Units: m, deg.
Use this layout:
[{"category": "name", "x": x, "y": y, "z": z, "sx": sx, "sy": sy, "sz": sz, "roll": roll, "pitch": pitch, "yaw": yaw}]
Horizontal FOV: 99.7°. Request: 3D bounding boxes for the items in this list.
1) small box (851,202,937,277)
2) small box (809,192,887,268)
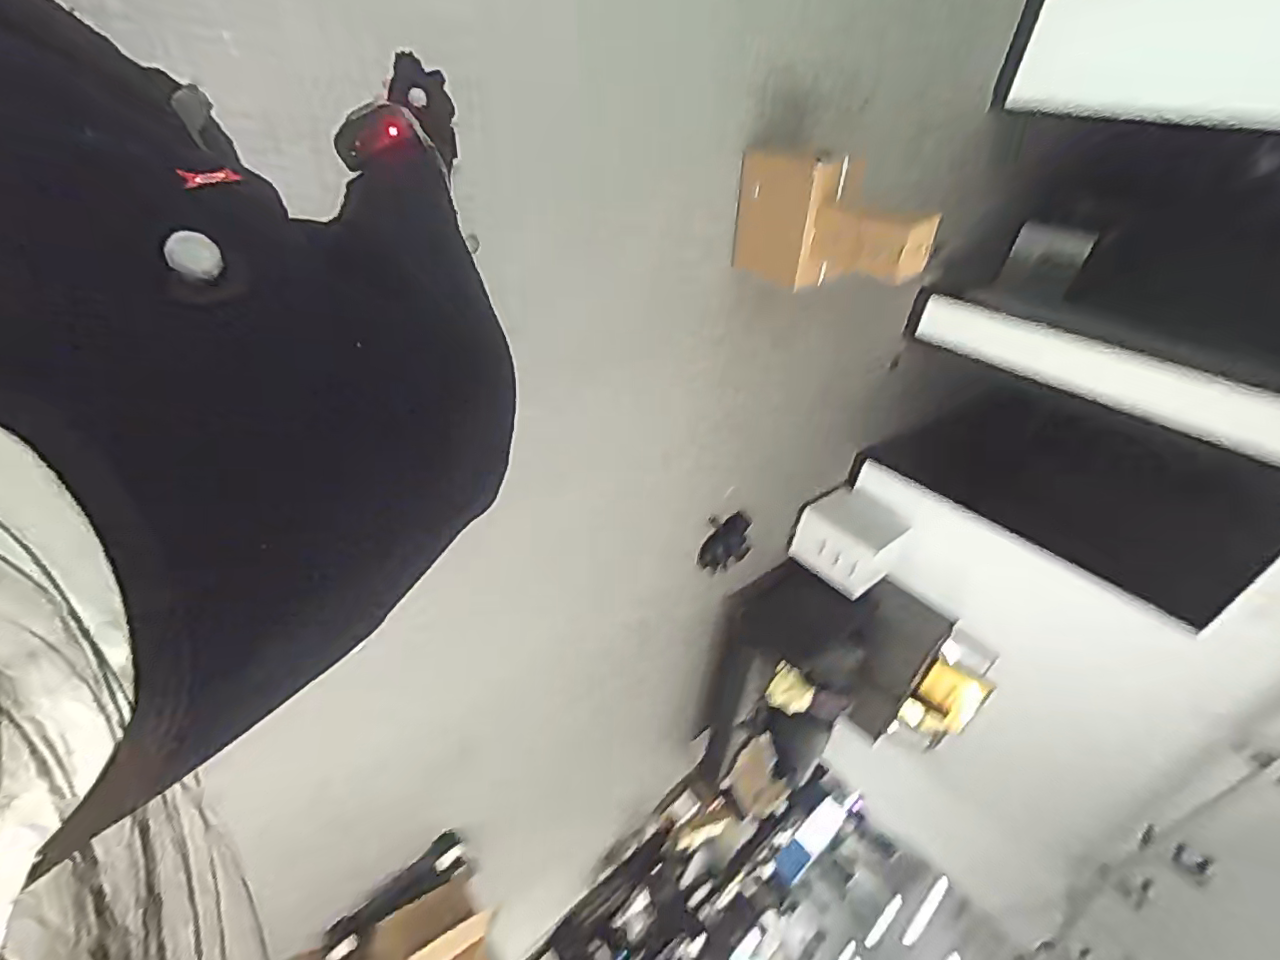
[{"category": "small box", "x": 0.804, "y": -0.773, "z": 1.730, "sx": 0.179, "sy": 0.176, "sz": 0.168, "roll": -31, "pitch": 138, "yaw": -27}, {"category": "small box", "x": 0.695, "y": -0.847, "z": 1.826, "sx": 0.168, "sy": 0.176, "sz": 0.179, "roll": -33, "pitch": 140, "yaw": -25}]
